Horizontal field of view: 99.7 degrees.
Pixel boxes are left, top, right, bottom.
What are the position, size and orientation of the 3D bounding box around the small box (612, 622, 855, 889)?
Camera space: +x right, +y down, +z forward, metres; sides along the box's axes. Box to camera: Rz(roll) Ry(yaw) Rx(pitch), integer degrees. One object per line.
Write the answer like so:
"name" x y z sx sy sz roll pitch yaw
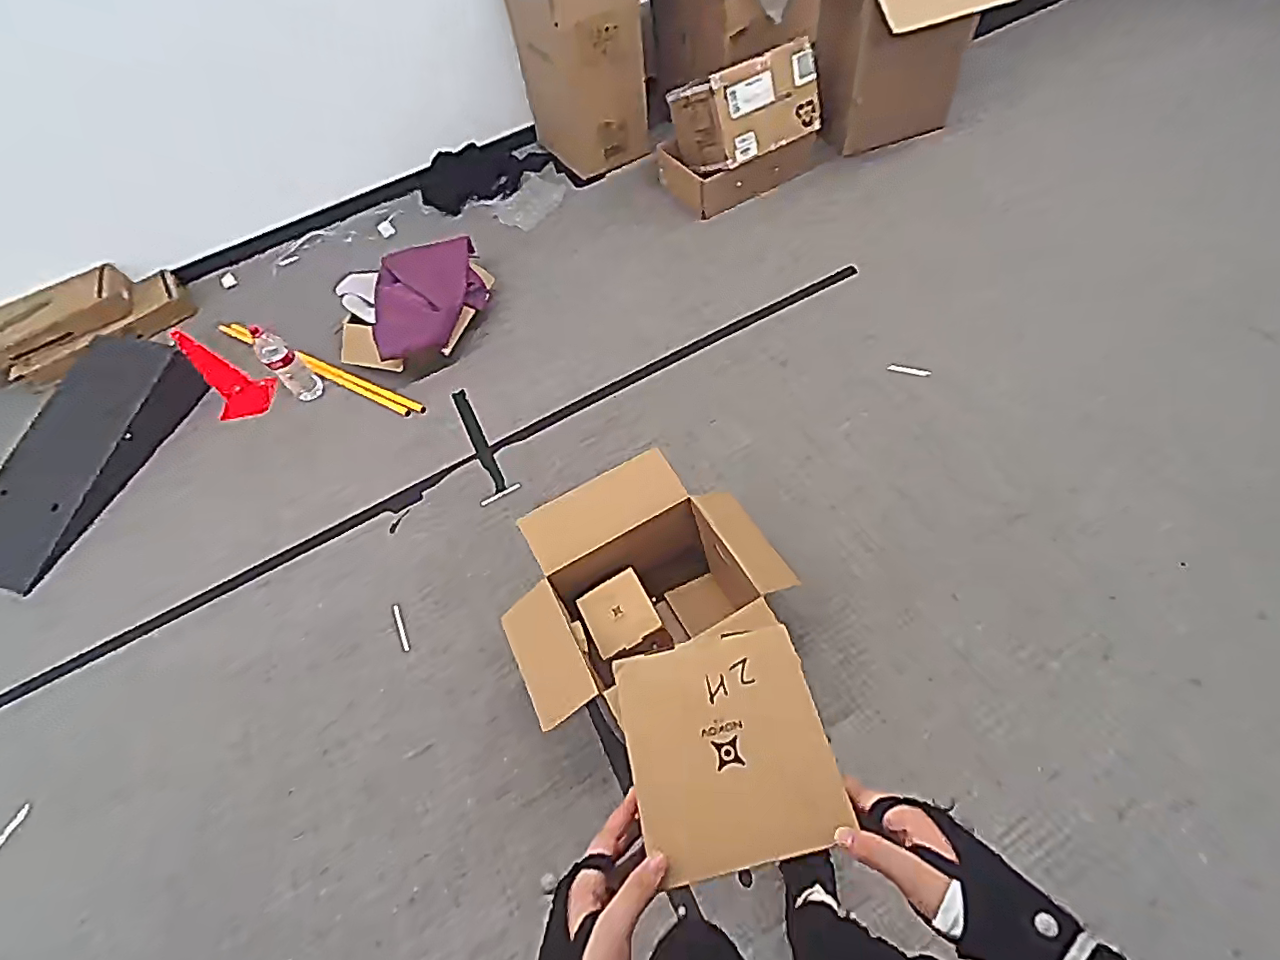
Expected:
"small box" 0.075 0.260 0.517 0.168 0.176 0.179 -12 56 -4
